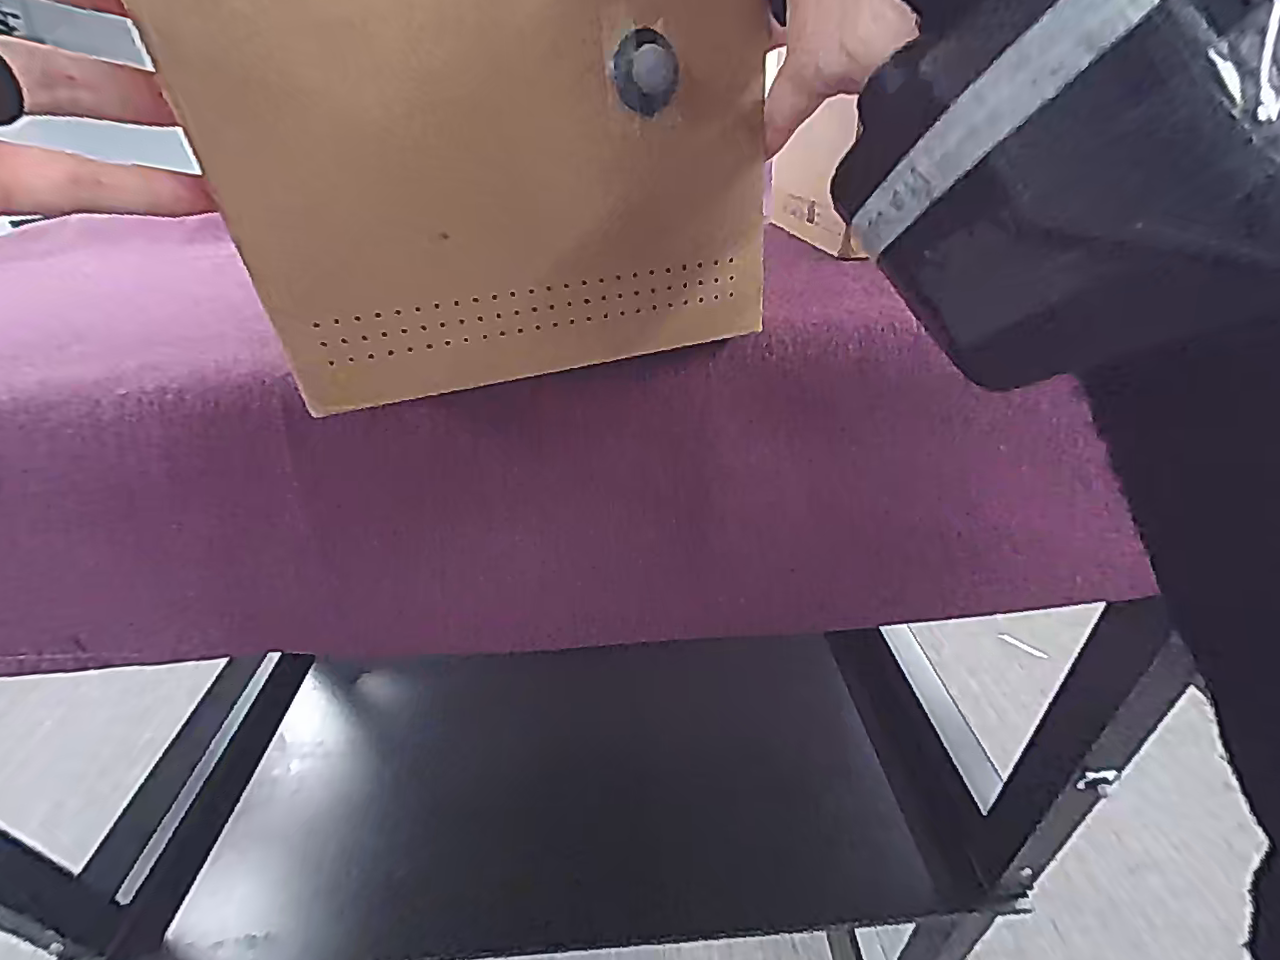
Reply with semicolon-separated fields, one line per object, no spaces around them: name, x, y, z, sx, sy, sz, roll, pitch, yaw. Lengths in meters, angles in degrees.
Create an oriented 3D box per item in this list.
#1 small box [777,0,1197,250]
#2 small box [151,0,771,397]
small box;0.201;-0.259;0.355;0.179;0.176;0.168;-6;32;-1
small box;-0.058;-0.152;0.229;0.179;0.176;0.168;-14;32;-12
